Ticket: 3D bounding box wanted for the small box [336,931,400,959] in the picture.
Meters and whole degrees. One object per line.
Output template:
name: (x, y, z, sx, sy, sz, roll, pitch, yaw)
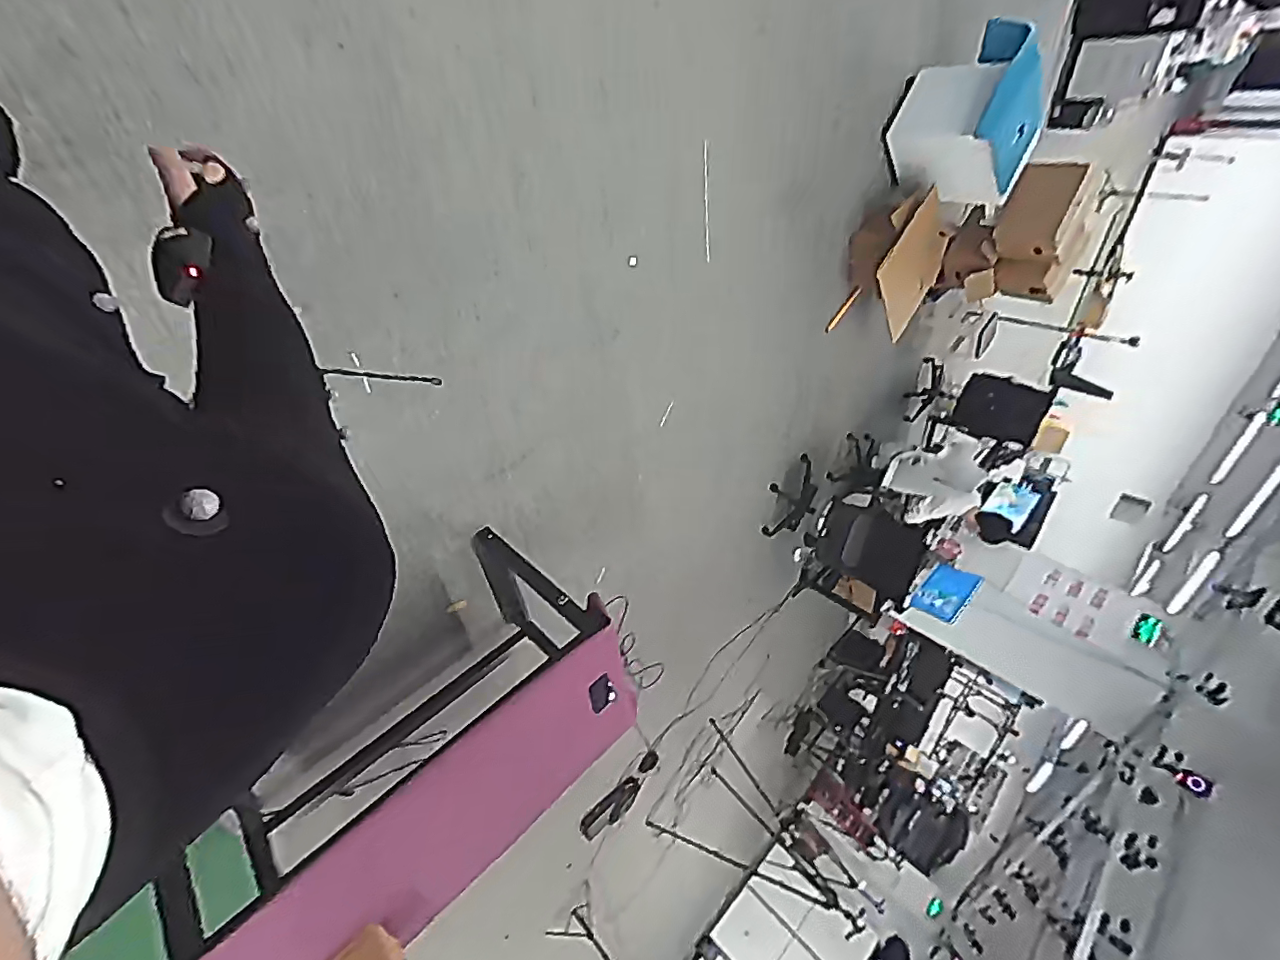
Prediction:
small box: (-0.696, 1.301, 1.368, 0.168, 0.176, 0.179, -34, 136, -32)
